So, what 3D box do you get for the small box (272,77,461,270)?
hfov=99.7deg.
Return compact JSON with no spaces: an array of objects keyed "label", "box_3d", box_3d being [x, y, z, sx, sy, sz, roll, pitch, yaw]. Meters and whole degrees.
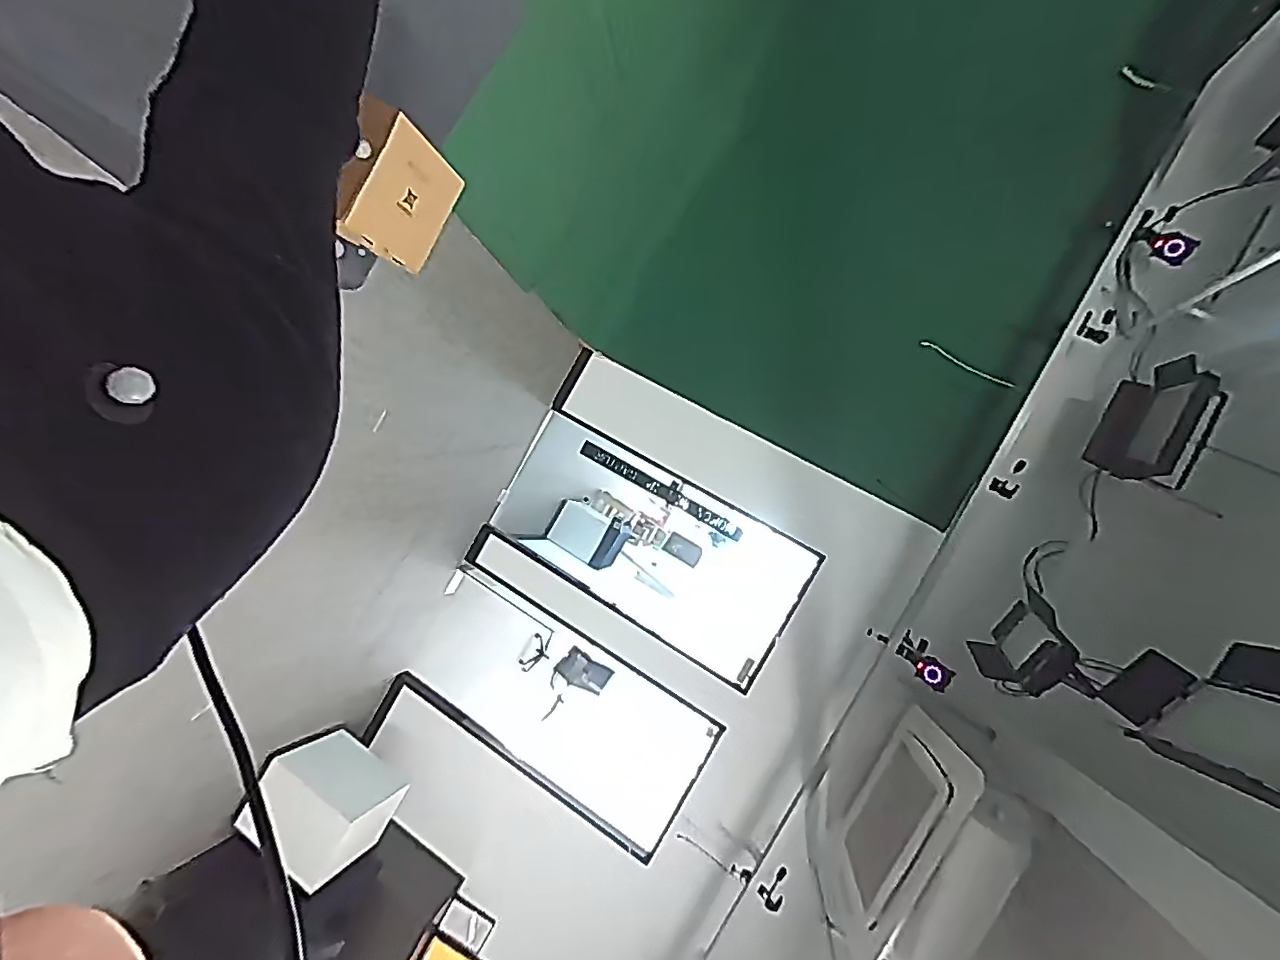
[{"label":"small box","box_3d":[-0.423,-0.469,0.841,0.179,0.176,0.168,-61,167,2]}]
